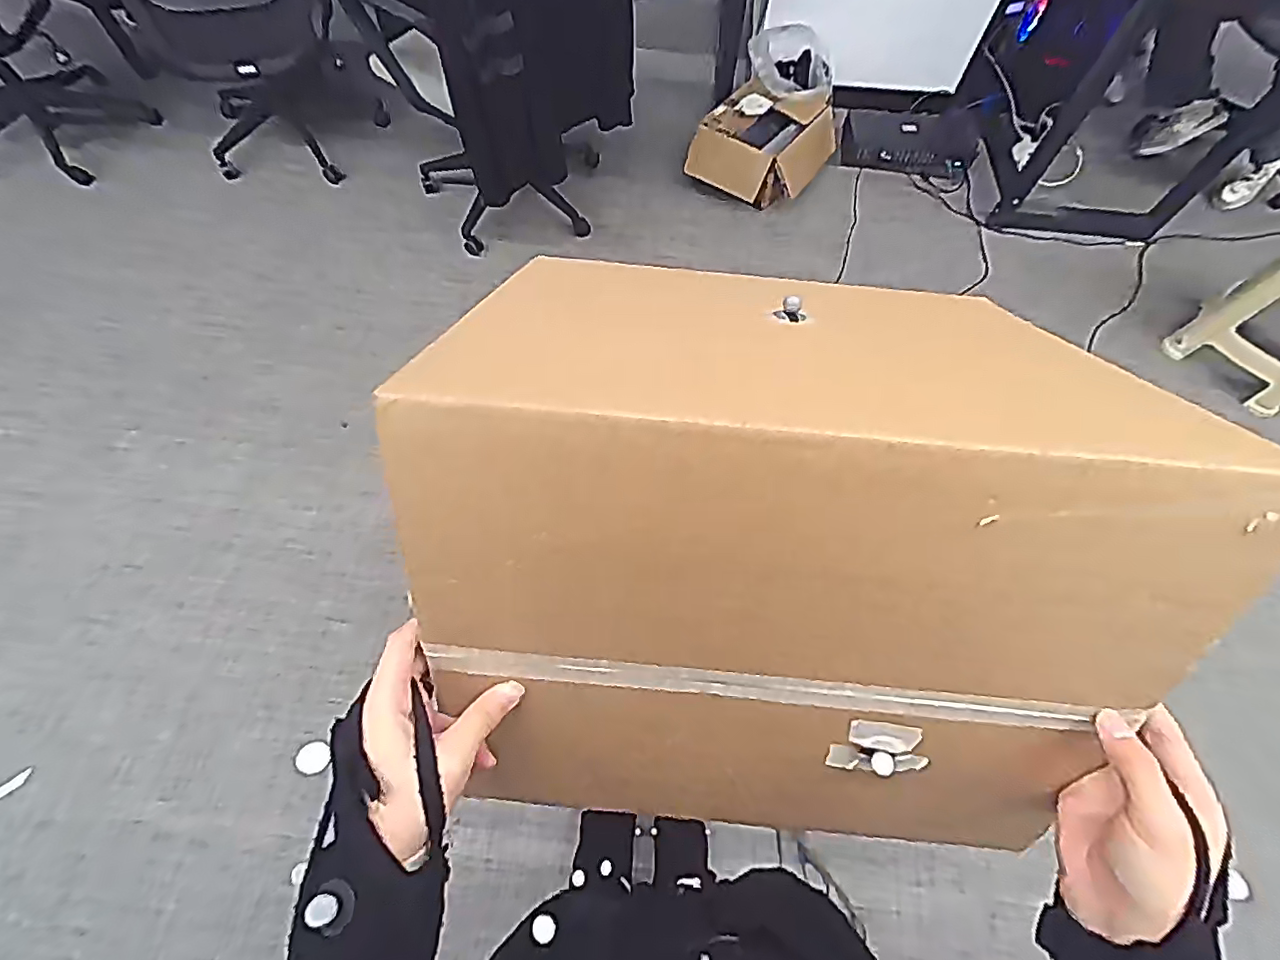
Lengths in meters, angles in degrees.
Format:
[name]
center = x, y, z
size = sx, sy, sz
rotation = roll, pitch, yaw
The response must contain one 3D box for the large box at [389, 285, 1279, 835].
[large box]
center = 0.082, 0.037, 0.440
size = 0.408, 0.320, 0.320
rotation = 4, 33, 0
